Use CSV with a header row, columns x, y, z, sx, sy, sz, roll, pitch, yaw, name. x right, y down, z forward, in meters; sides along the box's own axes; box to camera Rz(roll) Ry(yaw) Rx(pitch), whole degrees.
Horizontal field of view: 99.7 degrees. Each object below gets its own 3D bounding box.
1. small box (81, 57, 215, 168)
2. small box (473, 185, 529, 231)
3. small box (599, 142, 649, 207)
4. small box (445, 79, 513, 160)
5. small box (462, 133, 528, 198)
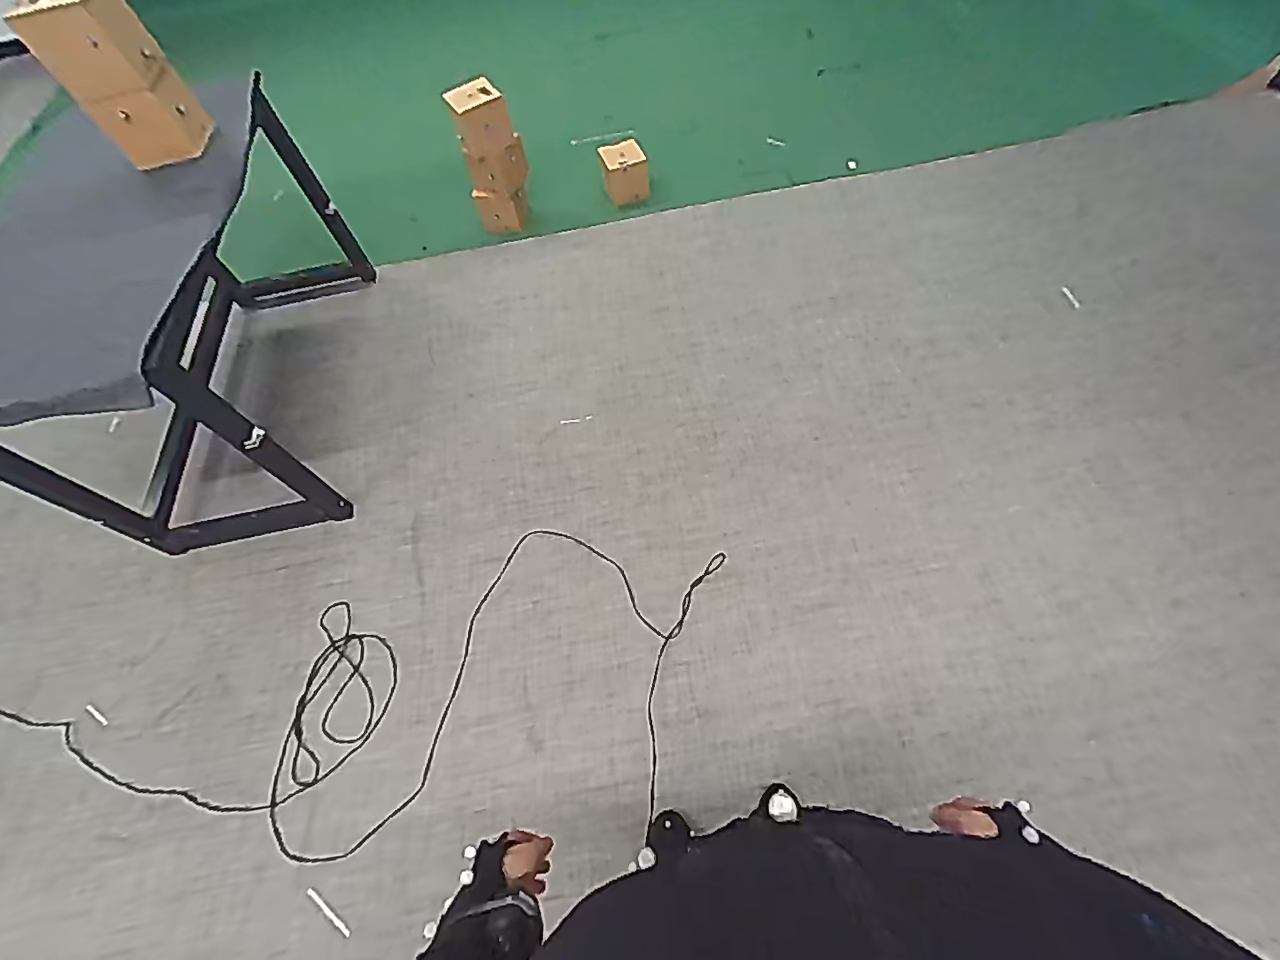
x,y,z,sx,sy,sz,roll,pitch,yaw,name
-1.257,-0.945,1.398,0.179,0.176,0.168,-12,61,1,small box
-0.587,-1.184,2.304,0.168,0.176,0.179,3,61,7,small box
-0.066,-1.309,2.321,0.168,0.176,0.179,-19,60,-6,small box
-0.592,-1.342,2.017,0.179,0.176,0.168,-32,64,-11,small box
-0.569,-1.264,2.160,0.168,0.176,0.179,23,65,16,small box
